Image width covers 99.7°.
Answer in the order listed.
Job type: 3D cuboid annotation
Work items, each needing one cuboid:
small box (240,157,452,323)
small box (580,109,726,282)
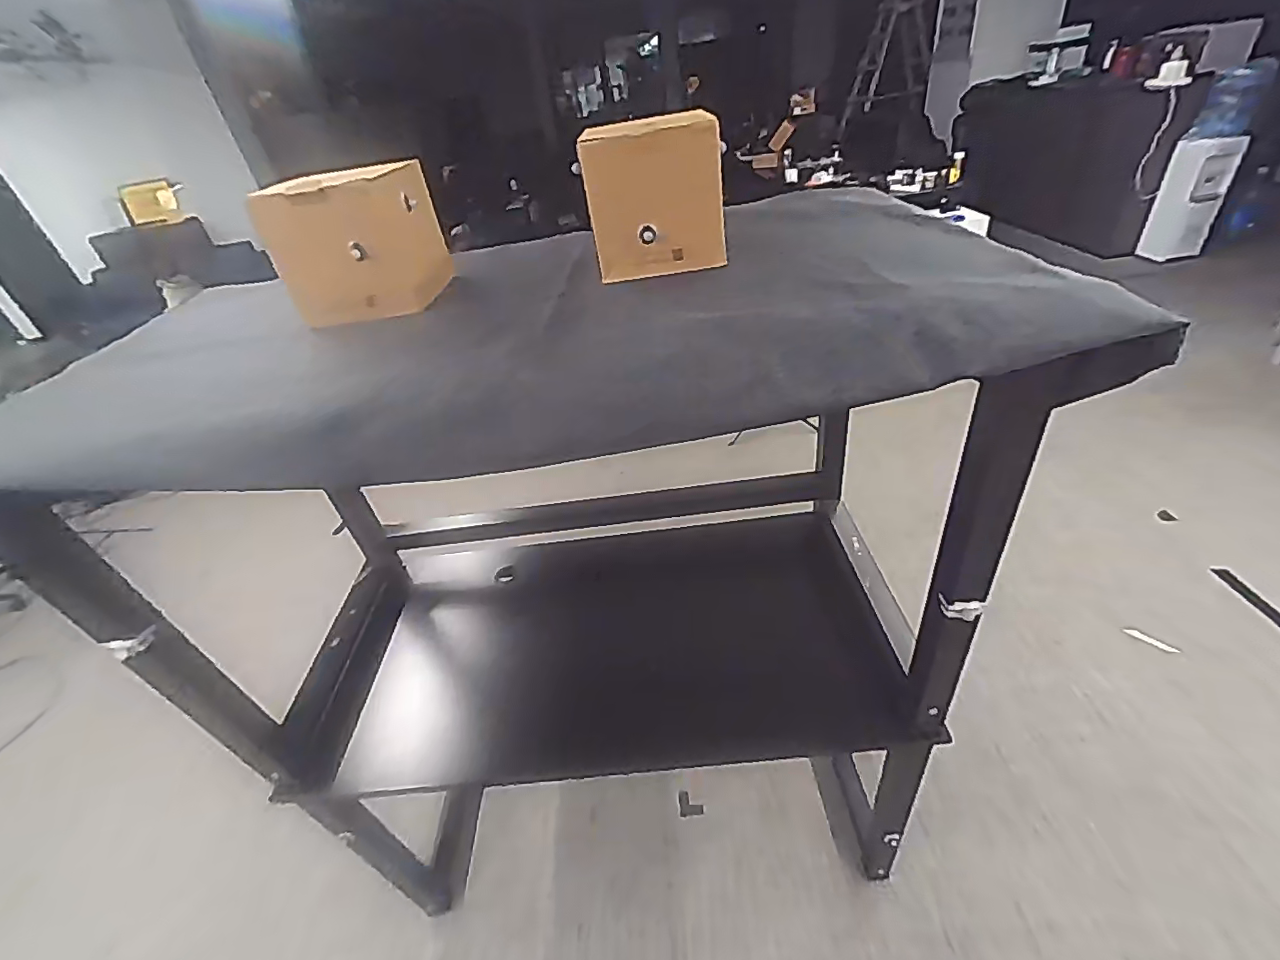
[{"bbox_3d":[-0.381,-0.325,0.745,0.168,0.176,0.179,-5,38,5],"label":"small box"},{"bbox_3d":[0.021,-0.381,0.725,0.168,0.176,0.179,-7,38,4],"label":"small box"}]
